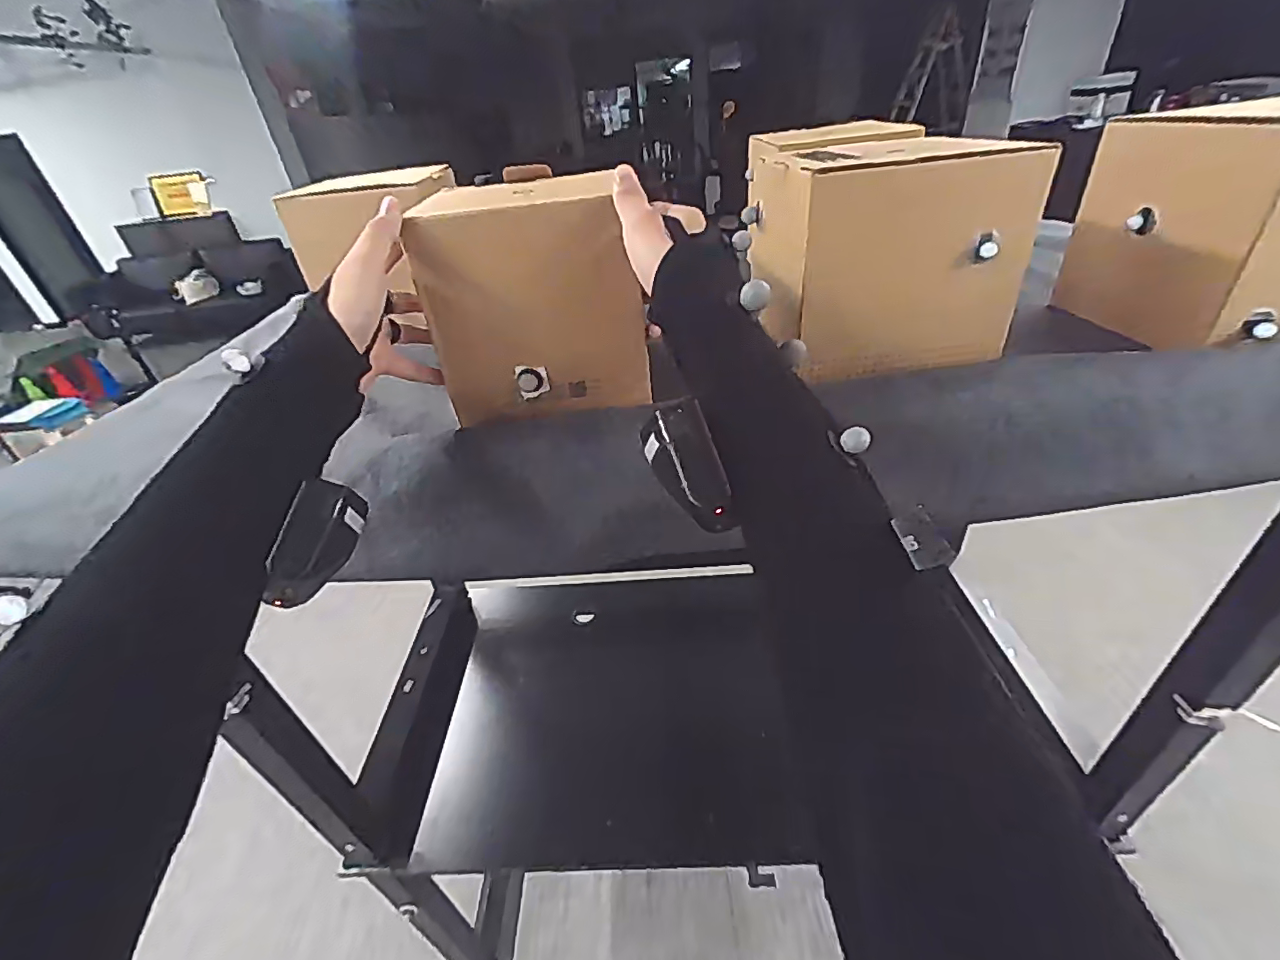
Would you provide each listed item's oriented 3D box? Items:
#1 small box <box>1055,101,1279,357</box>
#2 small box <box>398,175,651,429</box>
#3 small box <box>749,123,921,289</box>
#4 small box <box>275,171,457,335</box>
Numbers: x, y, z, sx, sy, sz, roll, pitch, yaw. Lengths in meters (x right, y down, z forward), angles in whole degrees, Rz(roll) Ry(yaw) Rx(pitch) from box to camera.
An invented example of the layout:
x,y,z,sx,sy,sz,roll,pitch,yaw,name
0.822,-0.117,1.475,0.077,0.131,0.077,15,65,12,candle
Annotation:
x,y,z,sx,sy,sz,roll,pitch,yaw,name
0.507,-0.209,0.455,0.168,0.176,0.179,-6,33,1,small box
-0.086,-0.162,0.479,0.168,0.176,0.179,-8,34,-3,small box
0.241,-0.358,0.716,0.168,0.176,0.179,-5,35,2,small box
-0.334,-0.308,0.733,0.179,0.176,0.168,-5,35,1,small box
